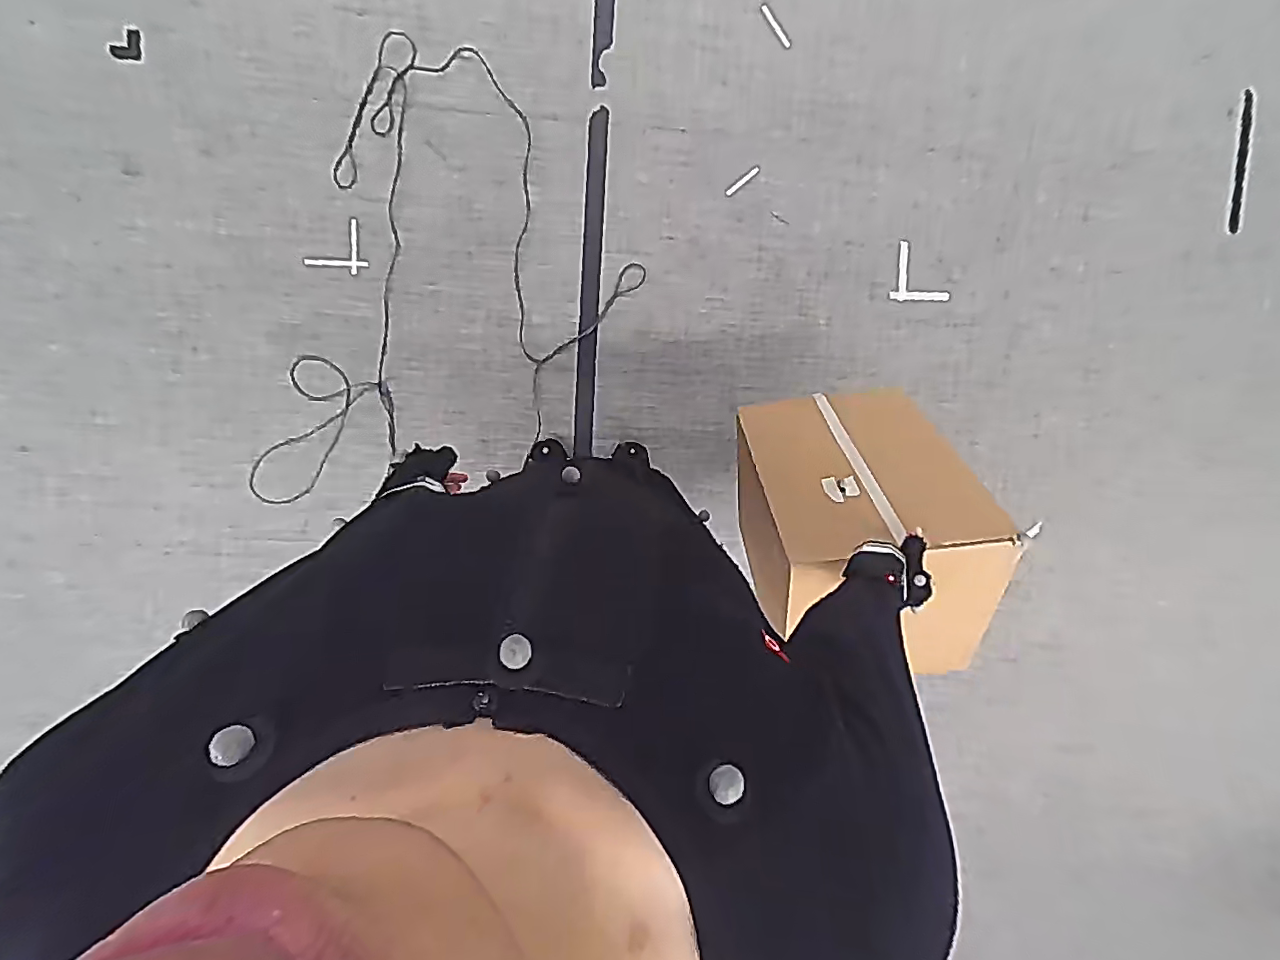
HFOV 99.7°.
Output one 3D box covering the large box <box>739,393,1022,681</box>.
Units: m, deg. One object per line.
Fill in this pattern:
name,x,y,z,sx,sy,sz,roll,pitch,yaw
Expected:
large box,0.372,0.092,0.981,0.320,0.408,0.320,-8,130,2
